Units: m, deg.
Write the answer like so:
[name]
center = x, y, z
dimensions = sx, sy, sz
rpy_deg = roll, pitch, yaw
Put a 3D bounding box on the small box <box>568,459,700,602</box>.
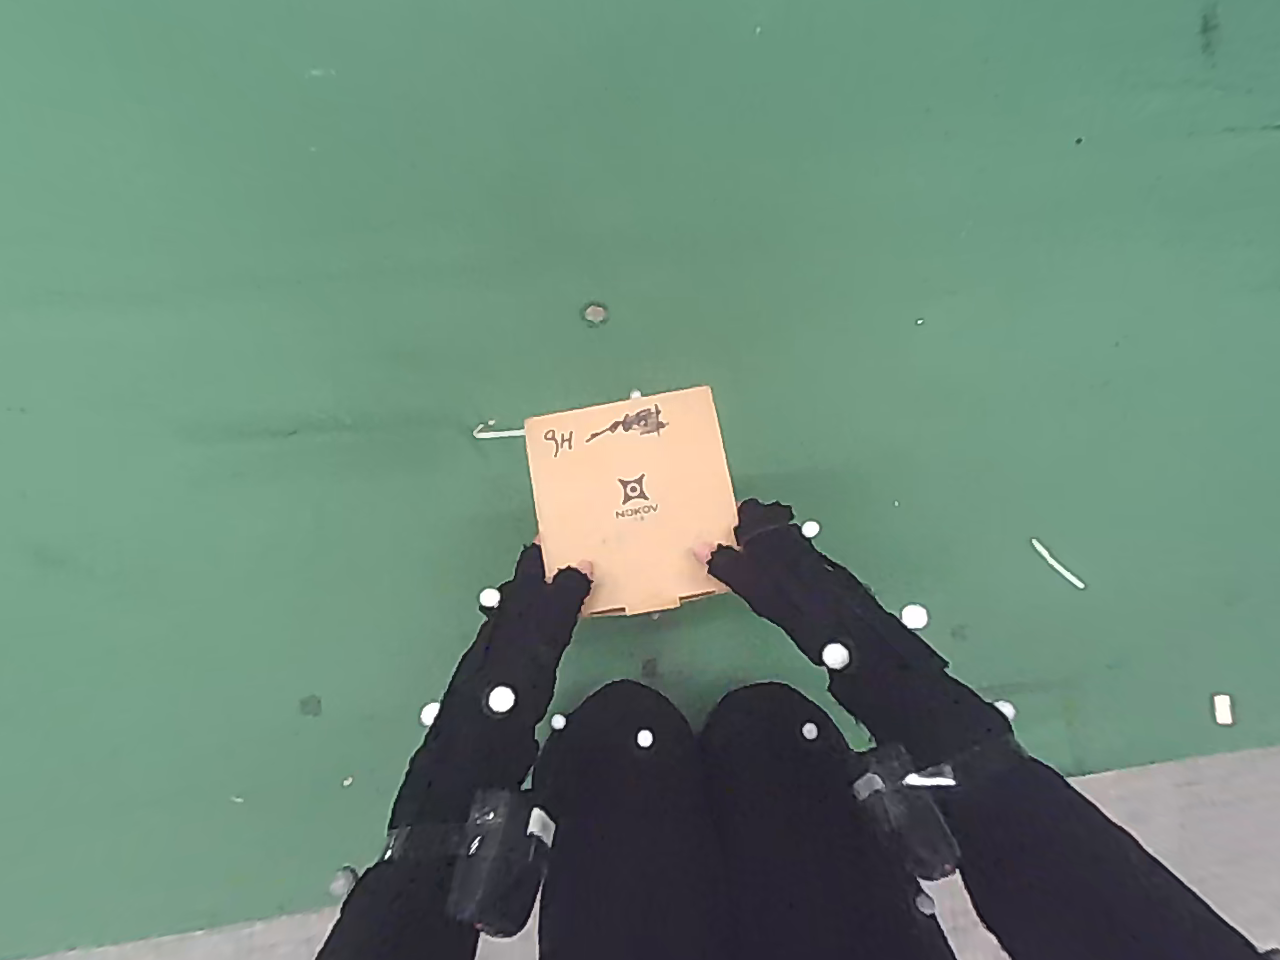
[small box]
center = -0.014, 0.067, 0.746
dimensions = 0.168, 0.176, 0.179
rpy_deg = 0, 85, -7
